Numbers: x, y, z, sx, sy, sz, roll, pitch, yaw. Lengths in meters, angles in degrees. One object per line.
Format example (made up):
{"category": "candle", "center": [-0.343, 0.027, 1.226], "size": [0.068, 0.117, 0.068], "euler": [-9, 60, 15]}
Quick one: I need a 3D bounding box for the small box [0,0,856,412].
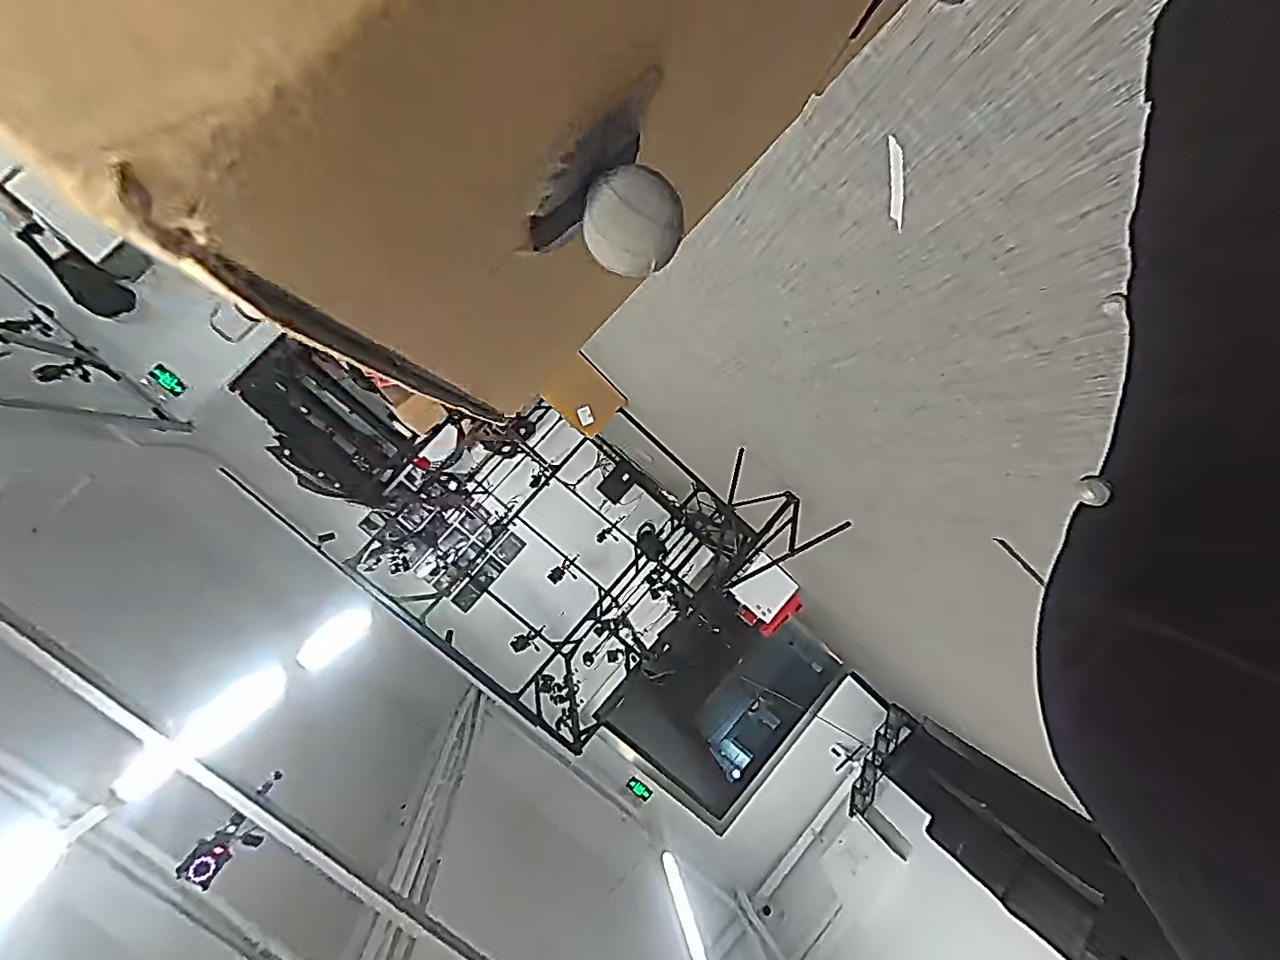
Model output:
{"category": "small box", "center": [-0.047, -0.136, 0.119], "size": [0.168, 0.176, 0.179], "euler": [43, 179, -6]}
